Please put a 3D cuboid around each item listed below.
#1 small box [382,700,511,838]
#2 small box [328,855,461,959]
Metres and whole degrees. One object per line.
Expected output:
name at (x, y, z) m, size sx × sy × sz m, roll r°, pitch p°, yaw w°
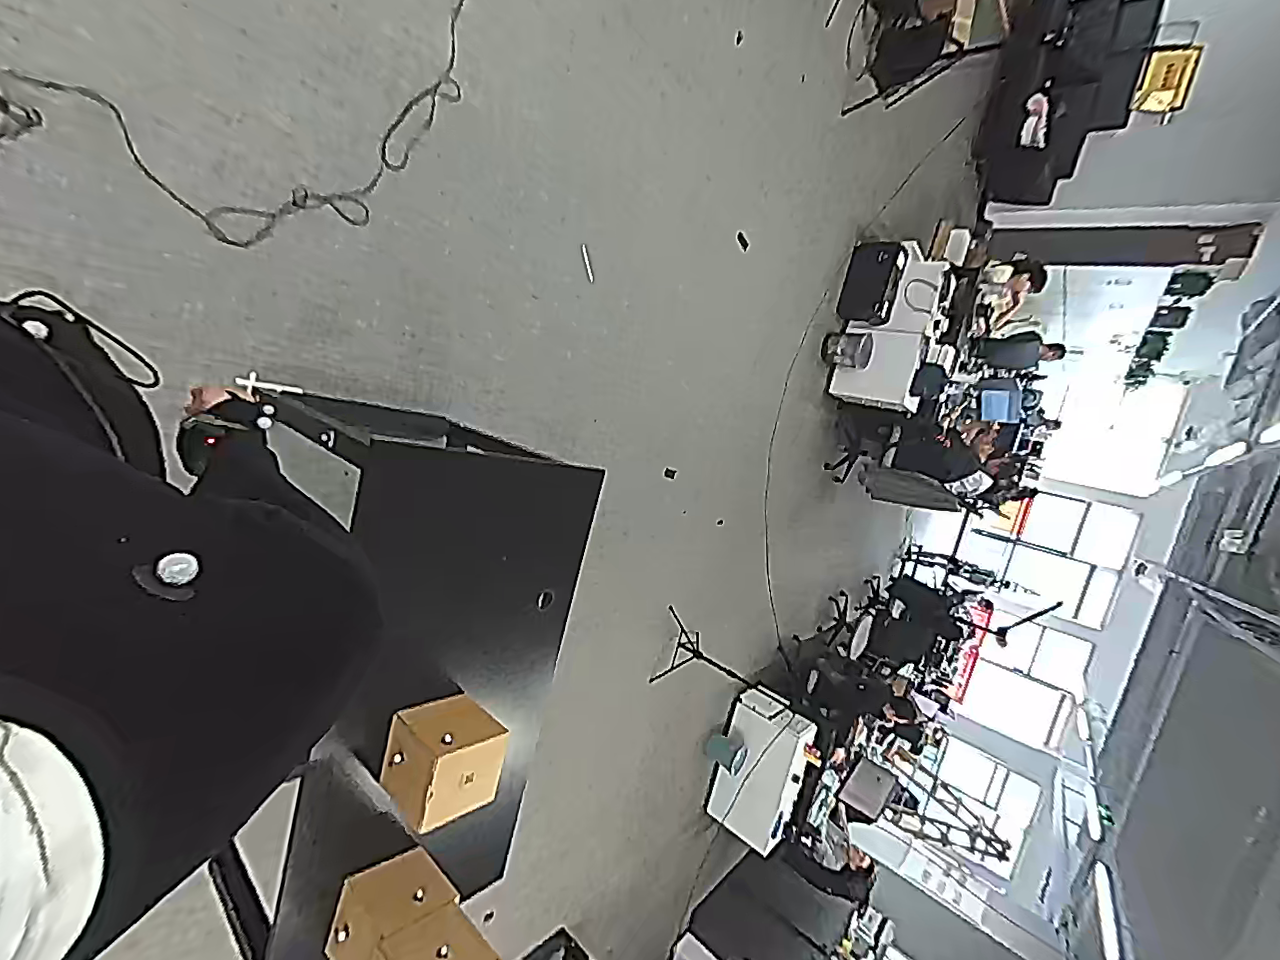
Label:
small box at (-0.406, 0.590, 1.136) m, size 0.179 × 0.176 × 0.168 m, roll 6°, pitch 100°, yaw -52°
small box at (-0.518, 0.945, 1.142) m, size 0.179 × 0.176 × 0.168 m, roll 15°, pitch 92°, yaw -53°
